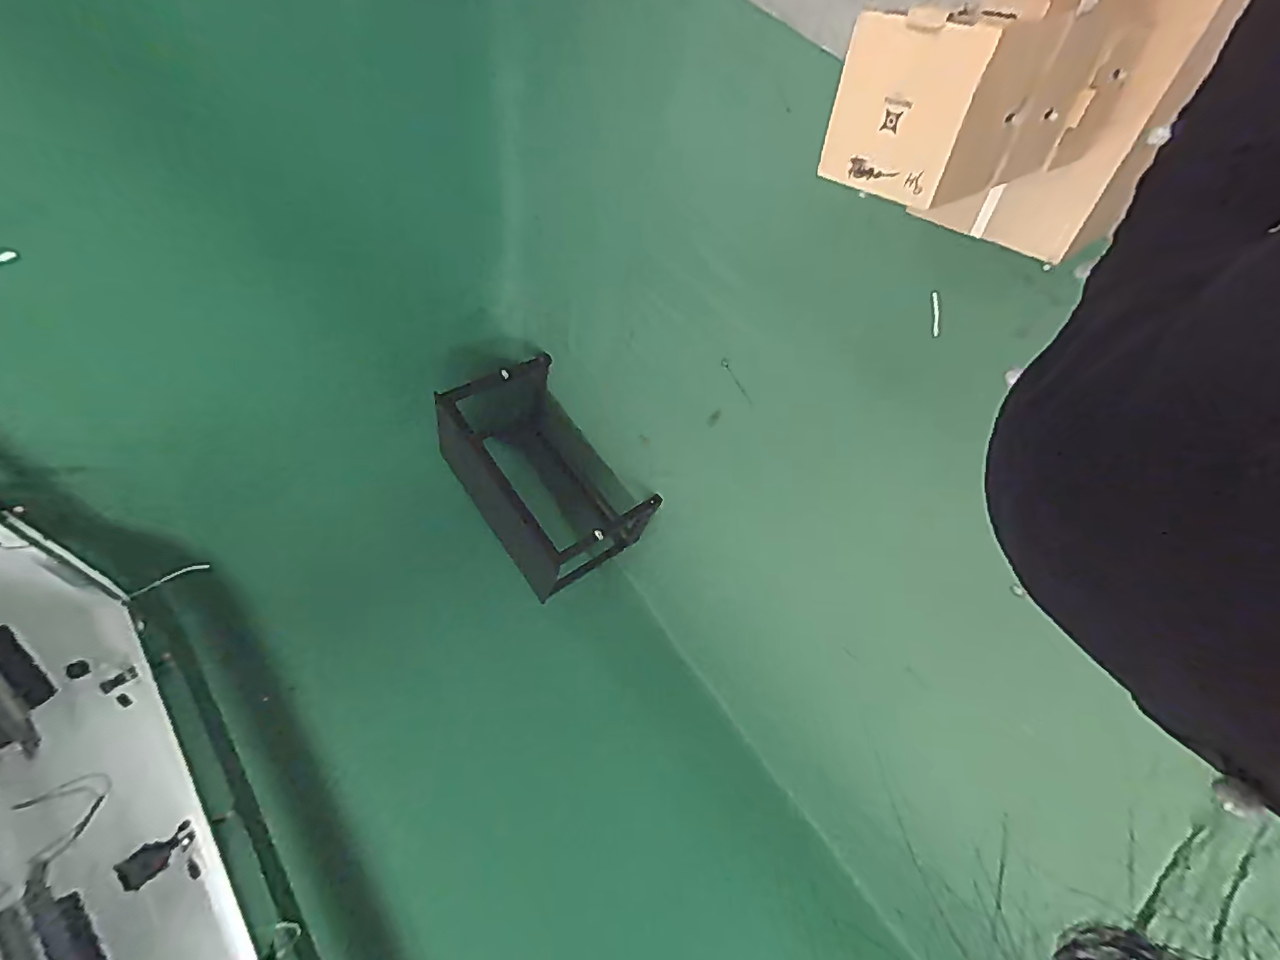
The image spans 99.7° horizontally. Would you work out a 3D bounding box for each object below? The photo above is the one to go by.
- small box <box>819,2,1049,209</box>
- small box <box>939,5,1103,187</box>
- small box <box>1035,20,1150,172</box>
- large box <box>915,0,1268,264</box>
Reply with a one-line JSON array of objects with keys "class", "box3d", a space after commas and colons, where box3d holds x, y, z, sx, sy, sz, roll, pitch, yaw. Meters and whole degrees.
[{"class": "small box", "box3d": [0.361, -0.463, 0.670, 0.168, 0.176, 0.179, 42, 144, 31]}, {"class": "small box", "box3d": [0.488, -0.533, 0.747, 0.168, 0.176, 0.179, 41, 145, 32]}, {"class": "small box", "box3d": [0.615, -0.597, 0.828, 0.179, 0.176, 0.168, 42, 145, 31]}, {"class": "large box", "box3d": [0.791, -0.677, 0.983, 0.320, 0.320, 0.408, 43, 147, 32]}]
